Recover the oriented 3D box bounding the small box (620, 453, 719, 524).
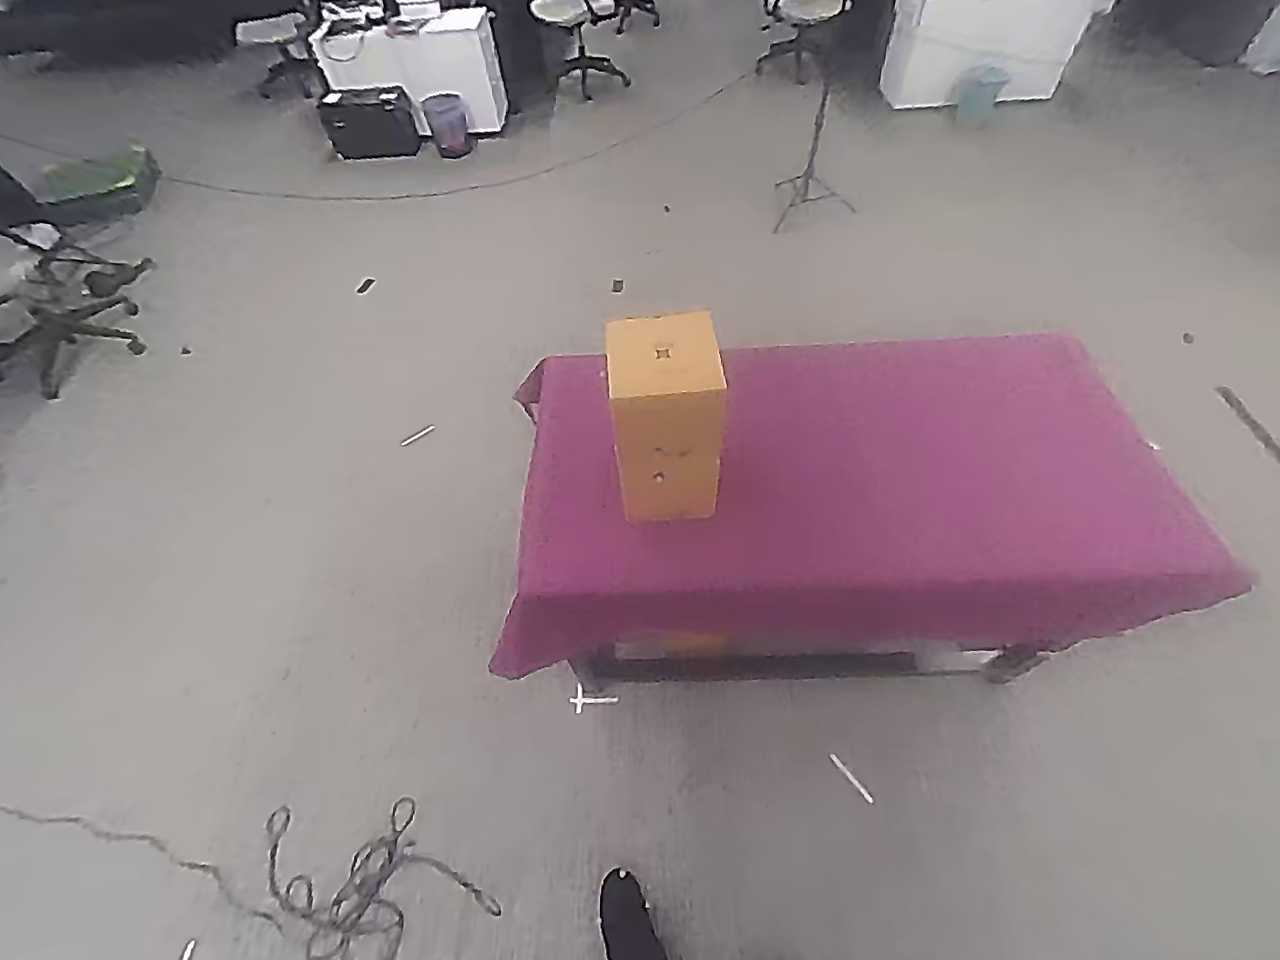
[{"bbox_3d":[0.049,-0.038,0.991,0.168,0.176,0.179,-4,54,1],"label":"small box"}]

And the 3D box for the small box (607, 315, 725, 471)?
[{"bbox_3d":[0.036,-0.136,0.860,0.168,0.176,0.179,-5,54,0],"label":"small box"}]
